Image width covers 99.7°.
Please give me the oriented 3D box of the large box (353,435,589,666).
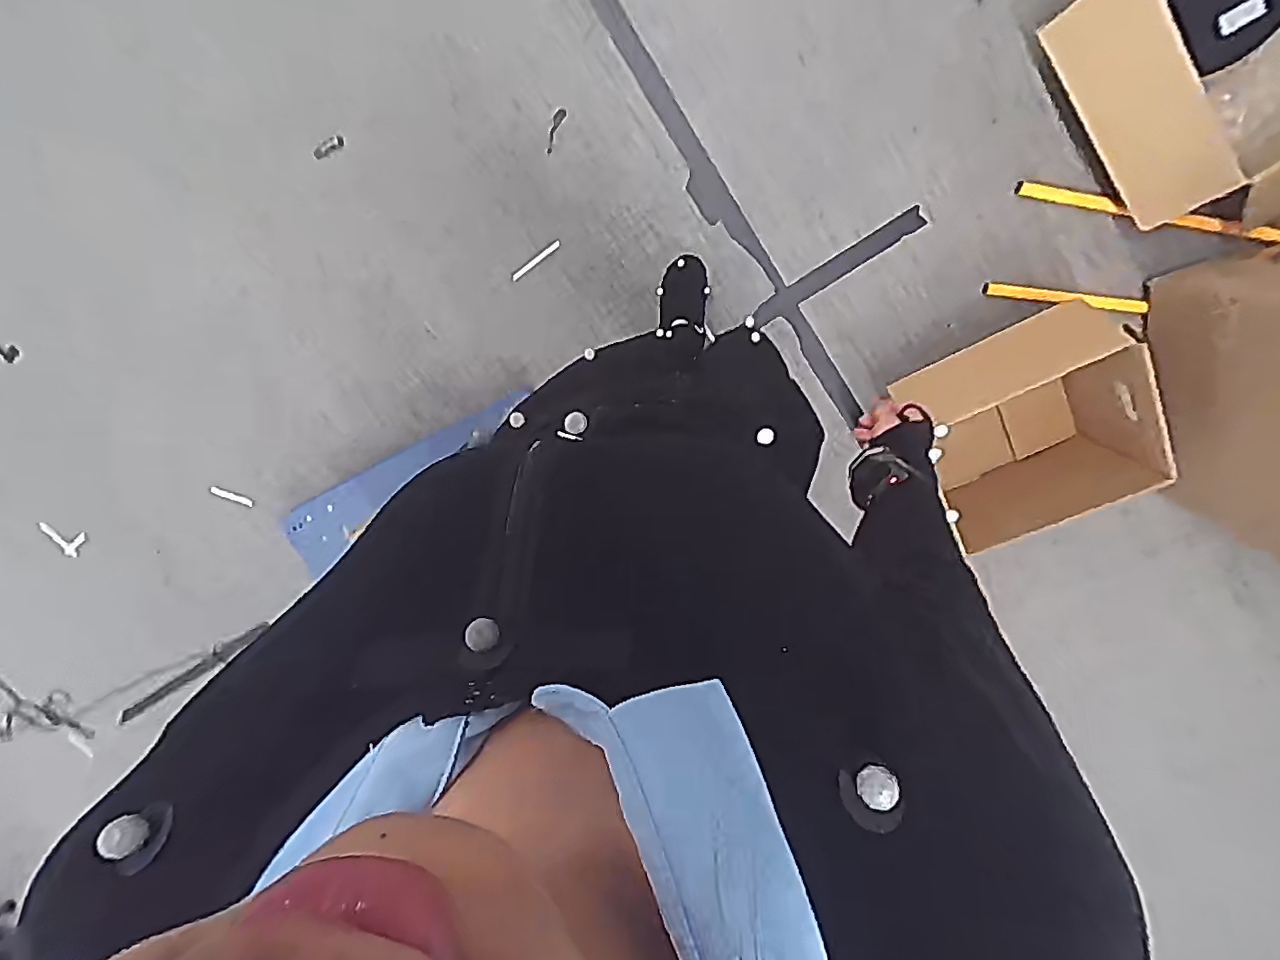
[{"bbox_3d":[-0.374,0.161,1.307,0.320,0.320,0.408,-24,106,15],"label":"large box"}]
